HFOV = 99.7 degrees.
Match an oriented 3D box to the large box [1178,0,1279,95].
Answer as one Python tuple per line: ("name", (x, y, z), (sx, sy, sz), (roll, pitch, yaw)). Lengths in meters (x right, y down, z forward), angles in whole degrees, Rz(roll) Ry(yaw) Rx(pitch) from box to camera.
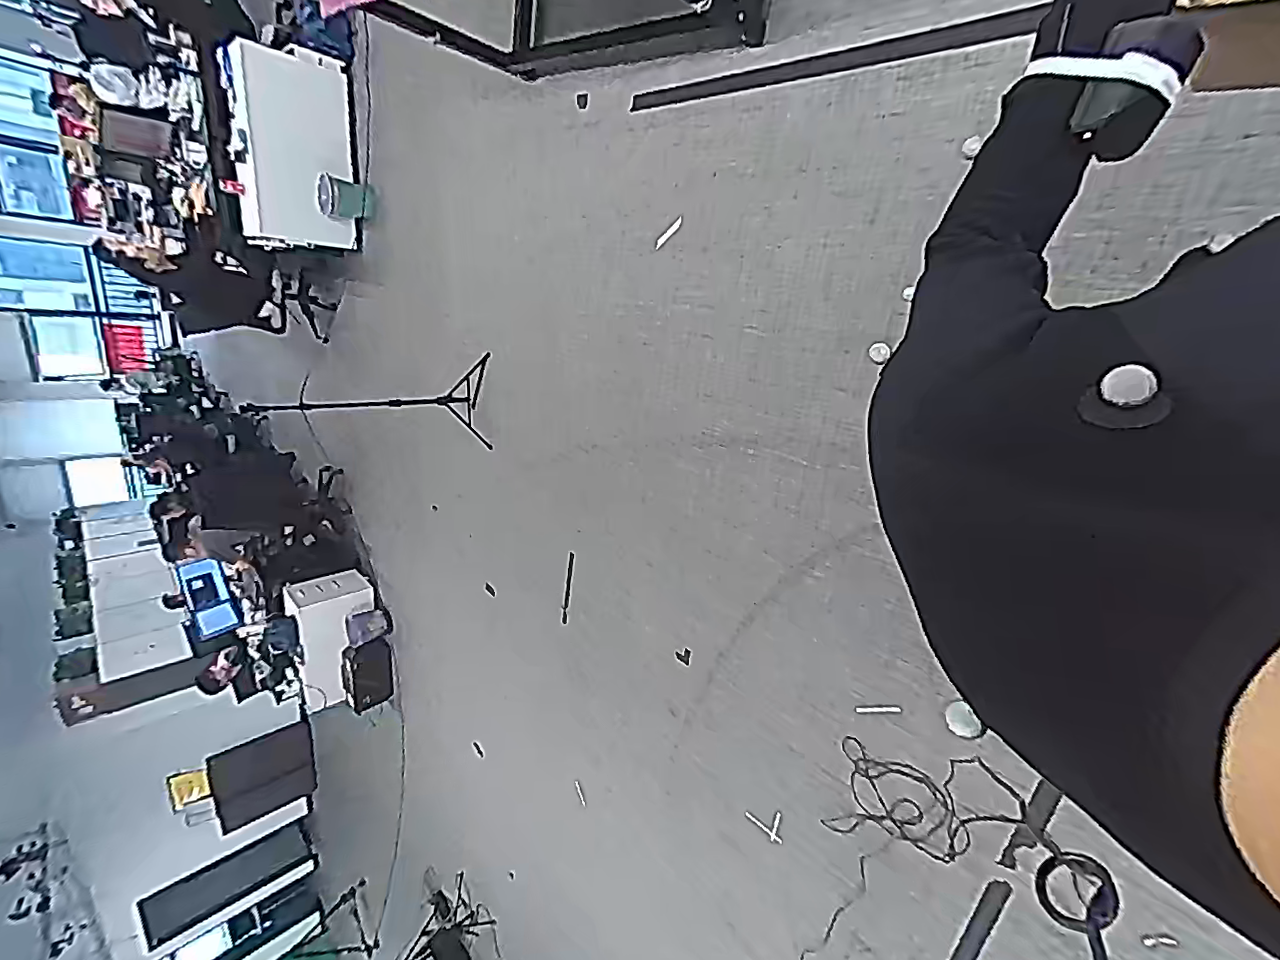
("large box", (0.600, -0.419, 0.266), (0.408, 0.320, 0.320), (26, 125, 37))
